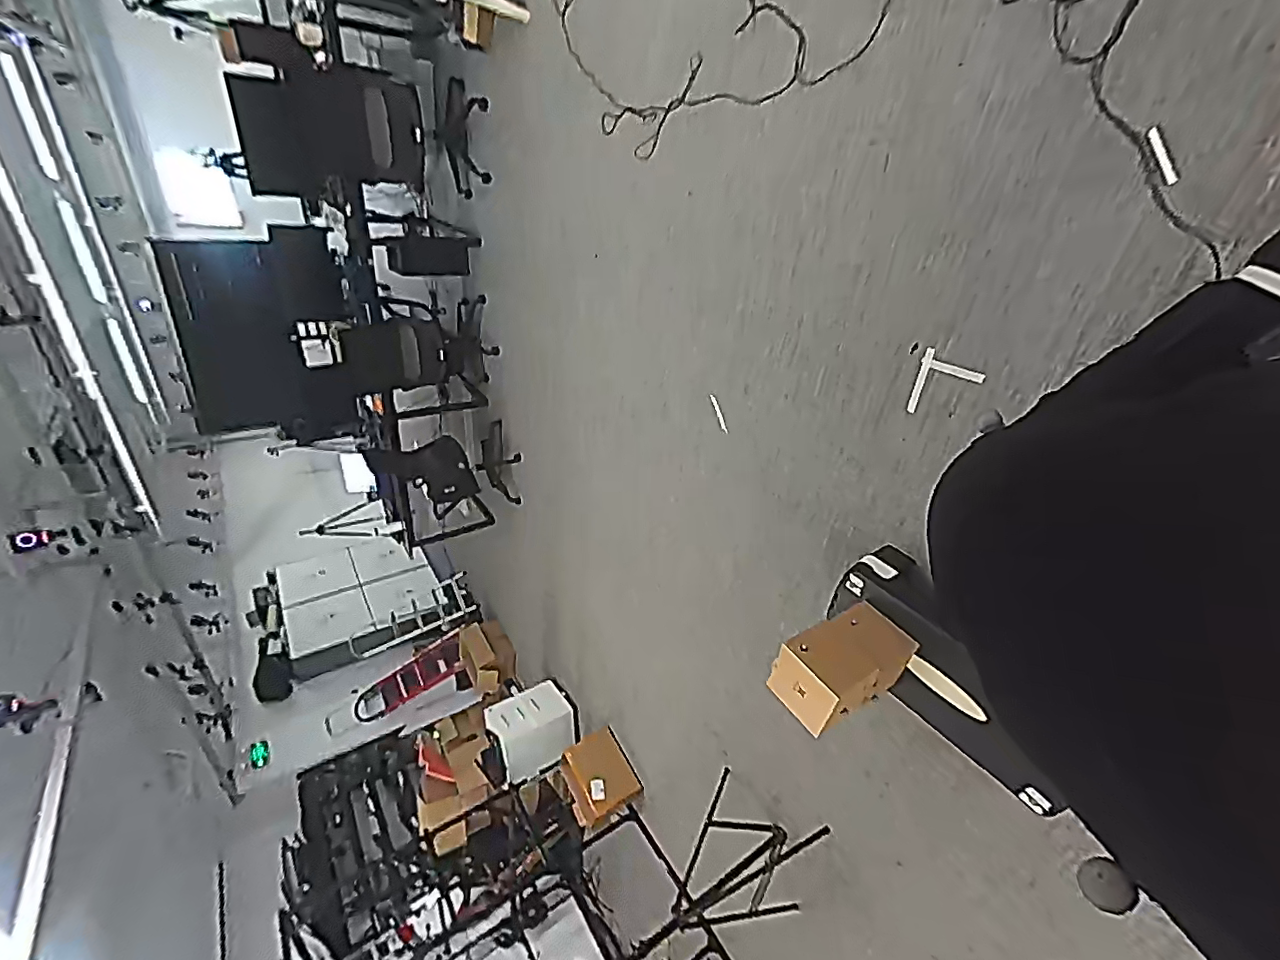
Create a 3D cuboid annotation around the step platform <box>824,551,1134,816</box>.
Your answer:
[{"bbox_3d":[0.815,0.494,1.417,0.684,0.204,0.286,39,135,42],"label":"step platform"}]

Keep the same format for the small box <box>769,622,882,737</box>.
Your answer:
[{"bbox_3d":[0.456,0.481,1.331,0.179,0.176,0.168,43,137,41],"label":"small box"}]
